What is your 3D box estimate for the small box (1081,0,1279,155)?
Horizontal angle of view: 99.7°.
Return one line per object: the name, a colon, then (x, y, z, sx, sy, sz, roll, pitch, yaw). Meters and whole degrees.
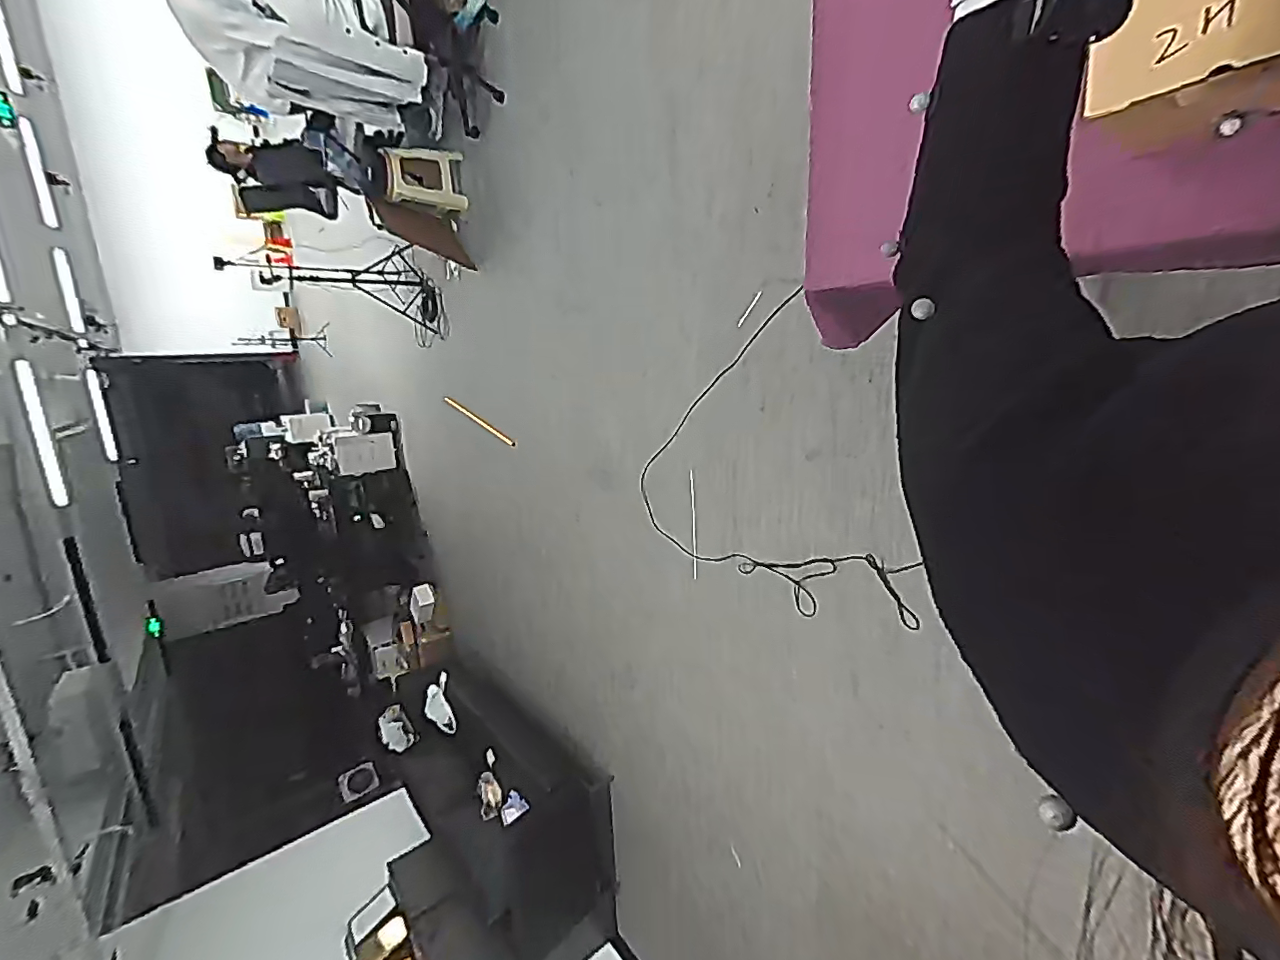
small box: (0.499, -0.403, 0.447, 0.168, 0.176, 0.179, 11, 108, 51)
